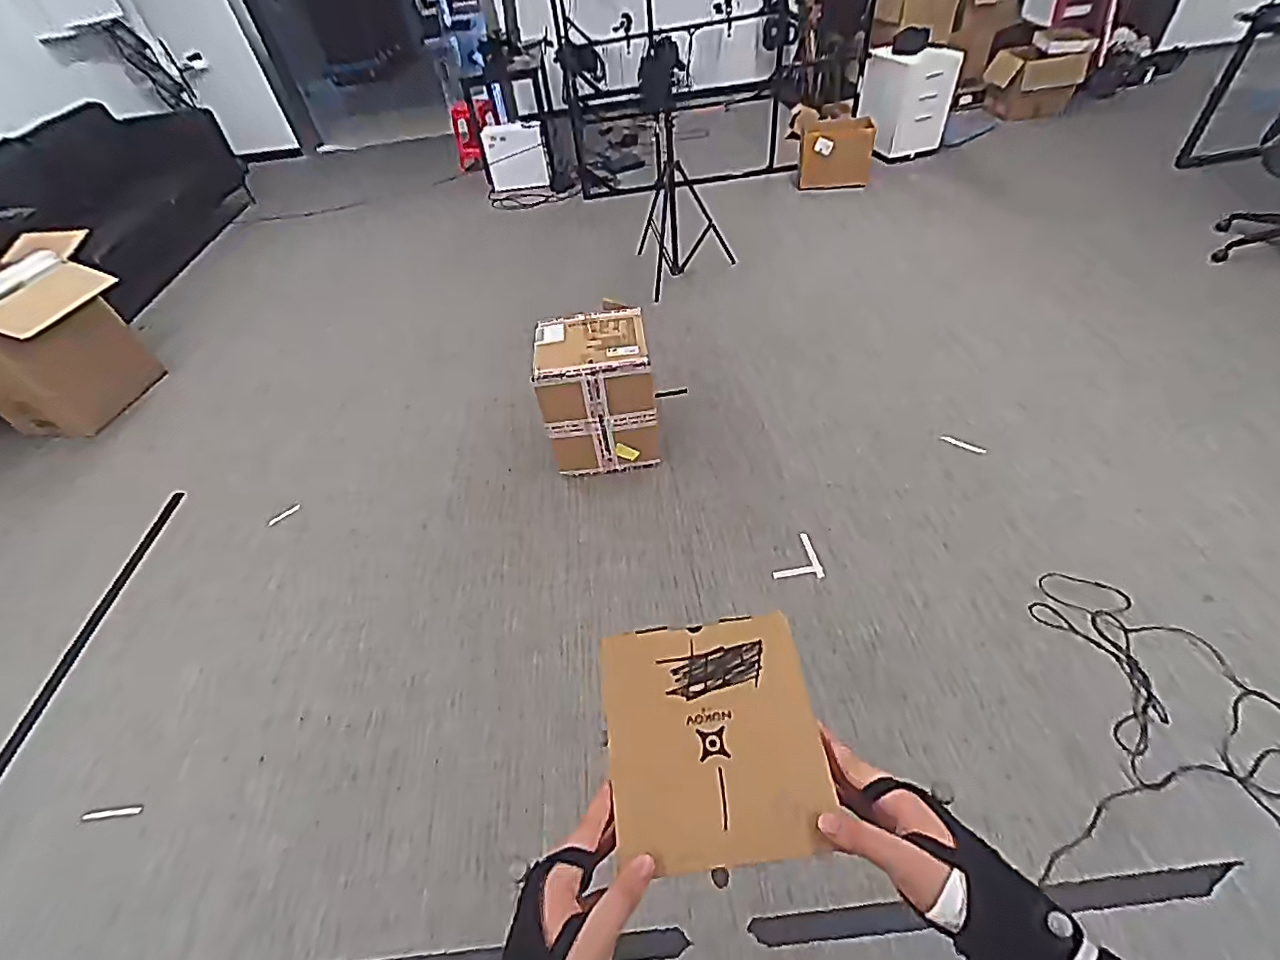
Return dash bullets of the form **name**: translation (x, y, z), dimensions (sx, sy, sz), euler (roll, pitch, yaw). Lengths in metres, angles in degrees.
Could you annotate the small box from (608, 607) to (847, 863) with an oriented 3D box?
- **small box**: translation (0.064, 0.237, 0.498), dimensions (0.168, 0.176, 0.179), euler (-8, 57, -1)
